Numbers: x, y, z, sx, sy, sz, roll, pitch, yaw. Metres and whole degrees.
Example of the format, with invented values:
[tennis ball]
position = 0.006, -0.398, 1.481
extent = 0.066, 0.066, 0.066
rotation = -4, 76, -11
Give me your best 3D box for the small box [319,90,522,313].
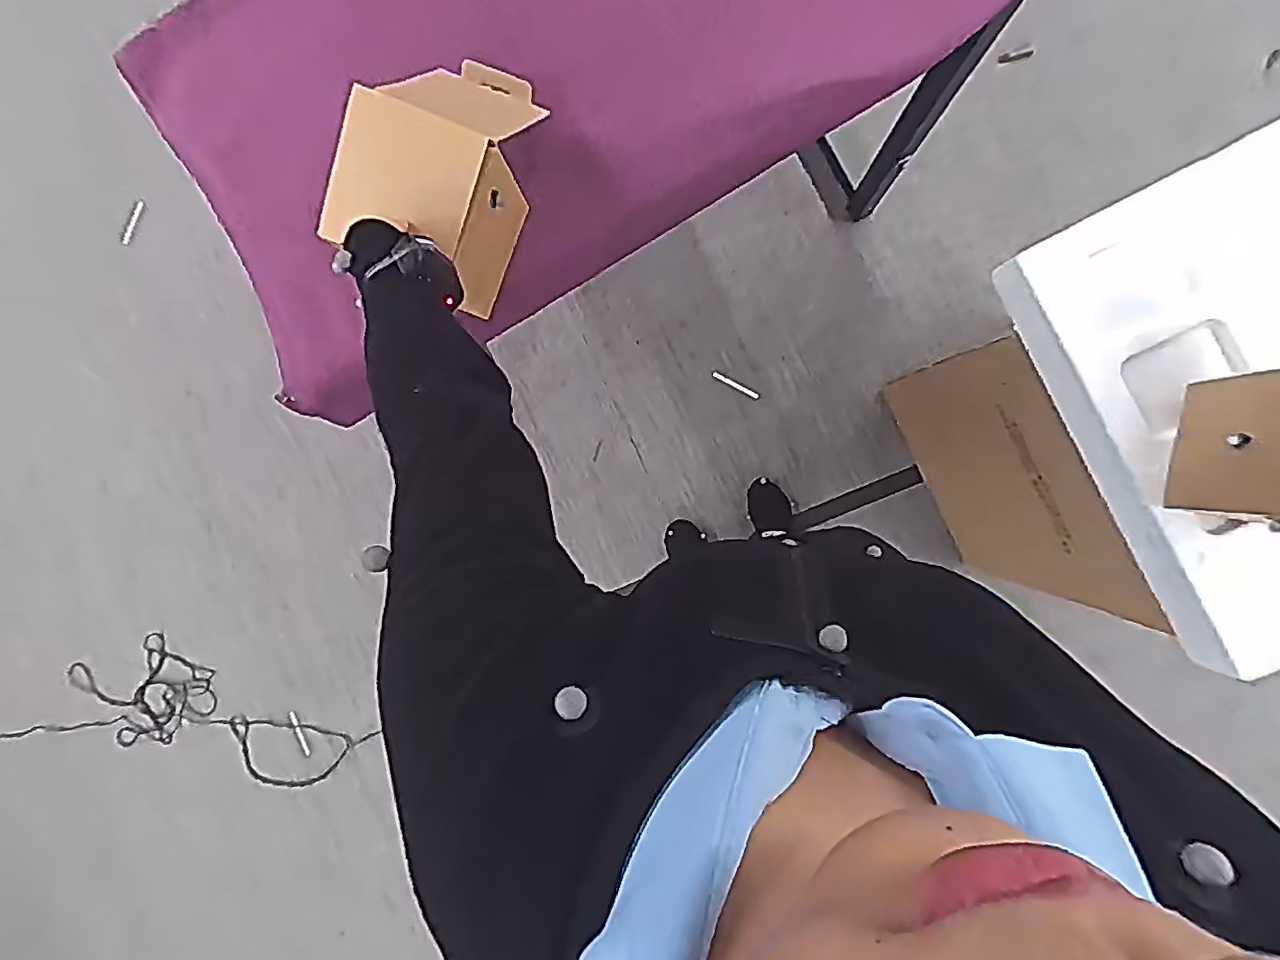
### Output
[small box]
position = -0.269, -0.346, 0.708
extent = 0.168, 0.176, 0.179
rotation = 22, 93, 0
